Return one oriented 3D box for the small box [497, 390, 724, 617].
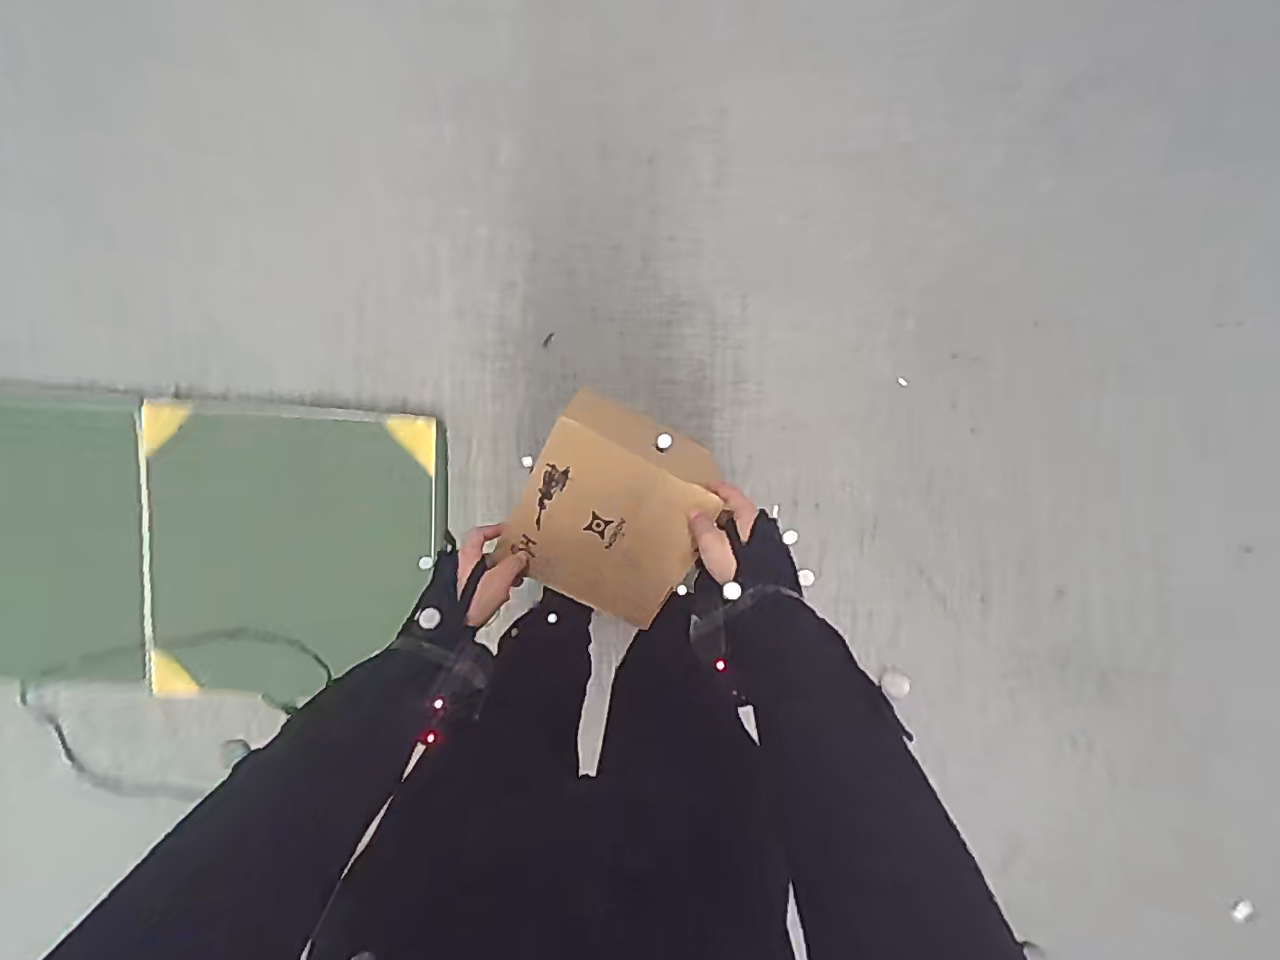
[{"bbox_3d":[-0.030,0.014,0.603,0.179,0.176,0.168,26,107,-7],"label":"small box"}]
